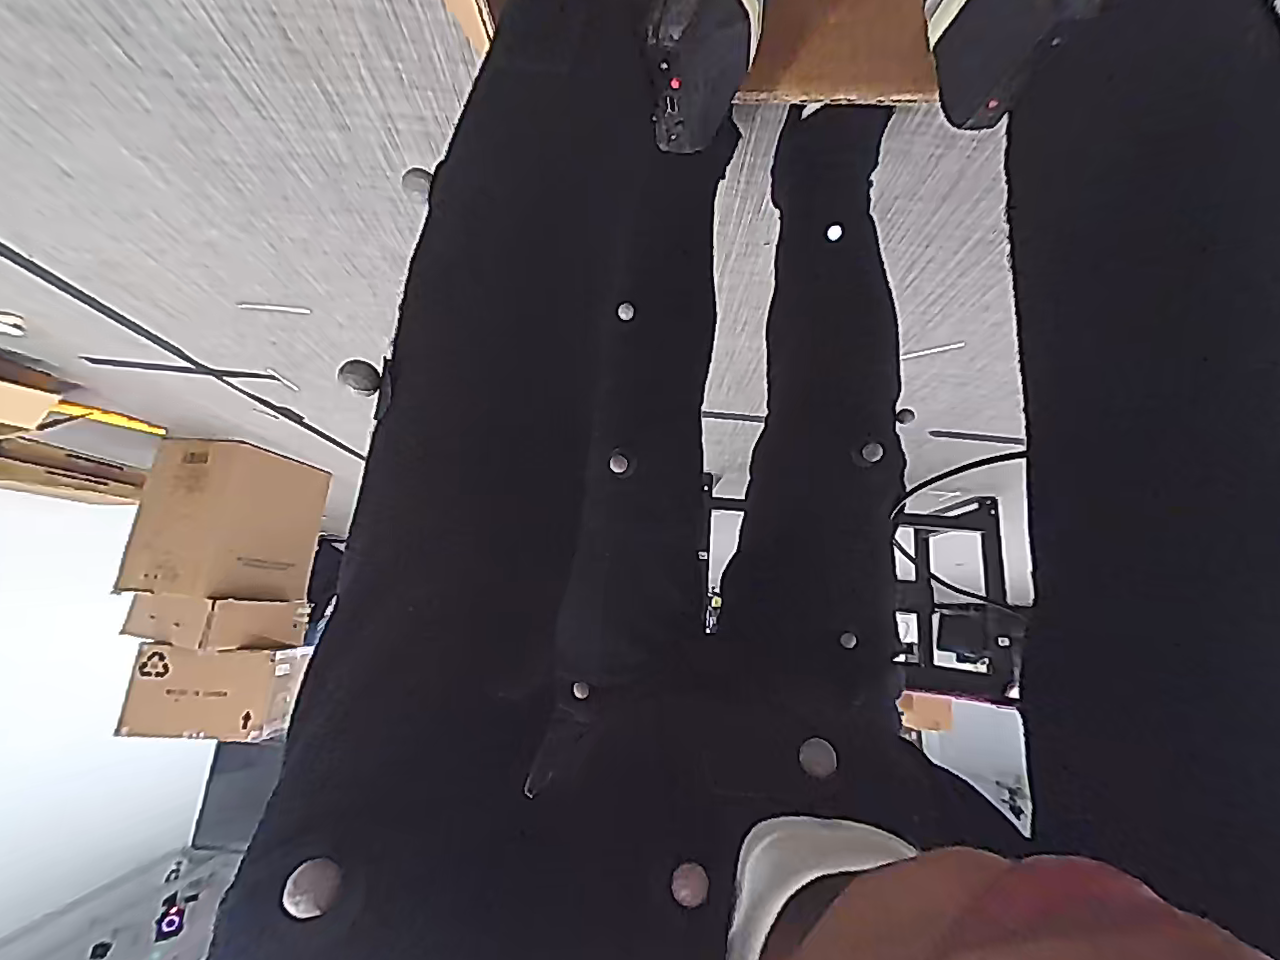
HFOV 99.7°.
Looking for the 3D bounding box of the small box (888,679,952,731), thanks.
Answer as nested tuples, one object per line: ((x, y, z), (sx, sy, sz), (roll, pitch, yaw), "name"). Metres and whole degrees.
((1.113, 0.897, 2.165), (0.168, 0.176, 0.179), (7, 165, -6), "small box")
